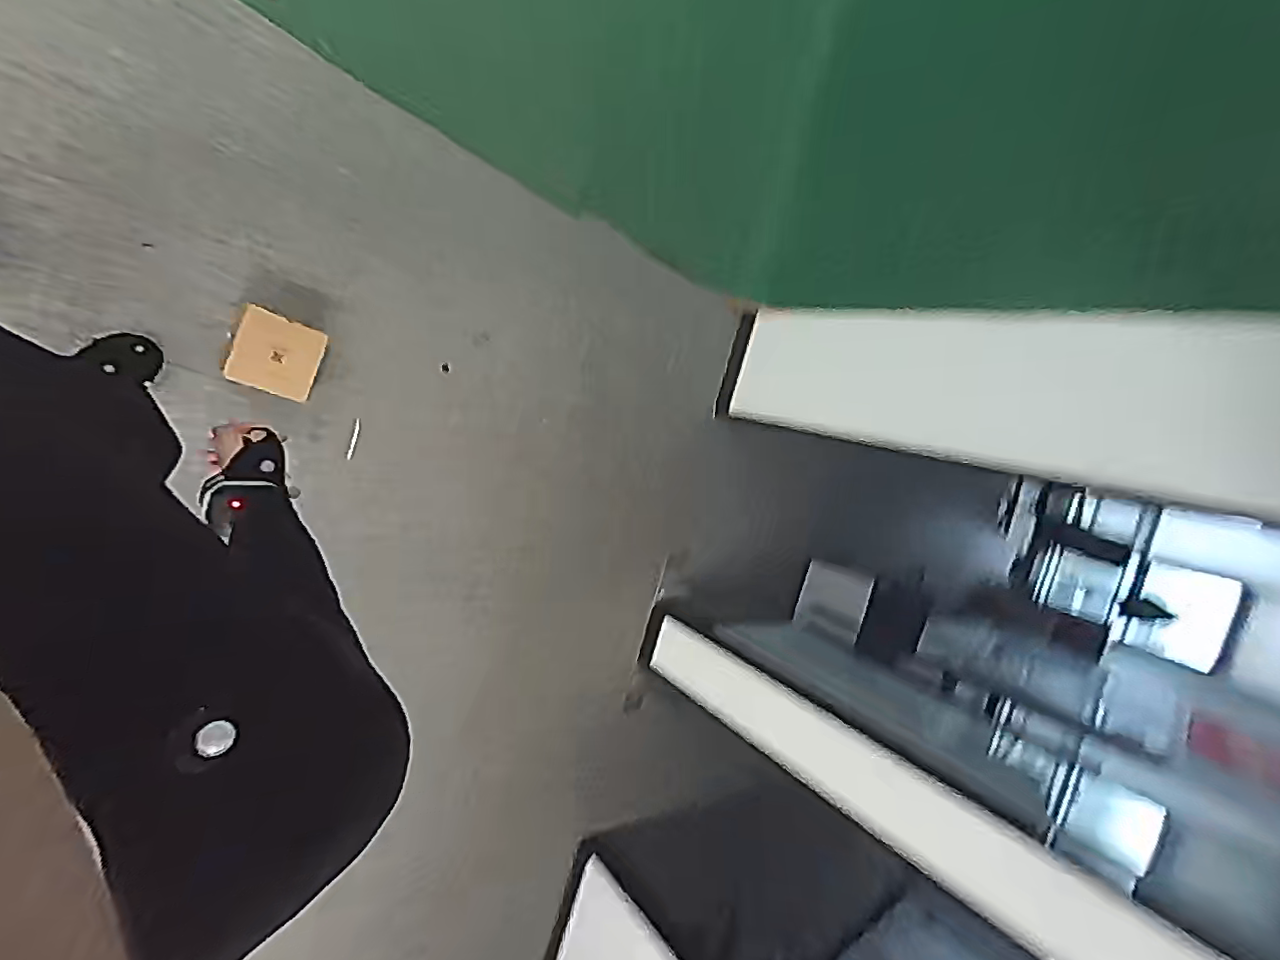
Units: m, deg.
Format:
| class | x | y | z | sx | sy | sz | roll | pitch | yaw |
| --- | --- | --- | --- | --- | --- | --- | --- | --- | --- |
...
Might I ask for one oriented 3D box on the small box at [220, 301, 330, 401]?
| class | x | y | z | sx | sy | sz | roll | pitch | yaw |
| --- | --- | --- | --- | --- | --- | --- | --- | --- | --- |
| small box | -0.874 | -0.310 | 1.289 | 0.168 | 0.176 | 0.179 | 22 | 90 | -43 |
